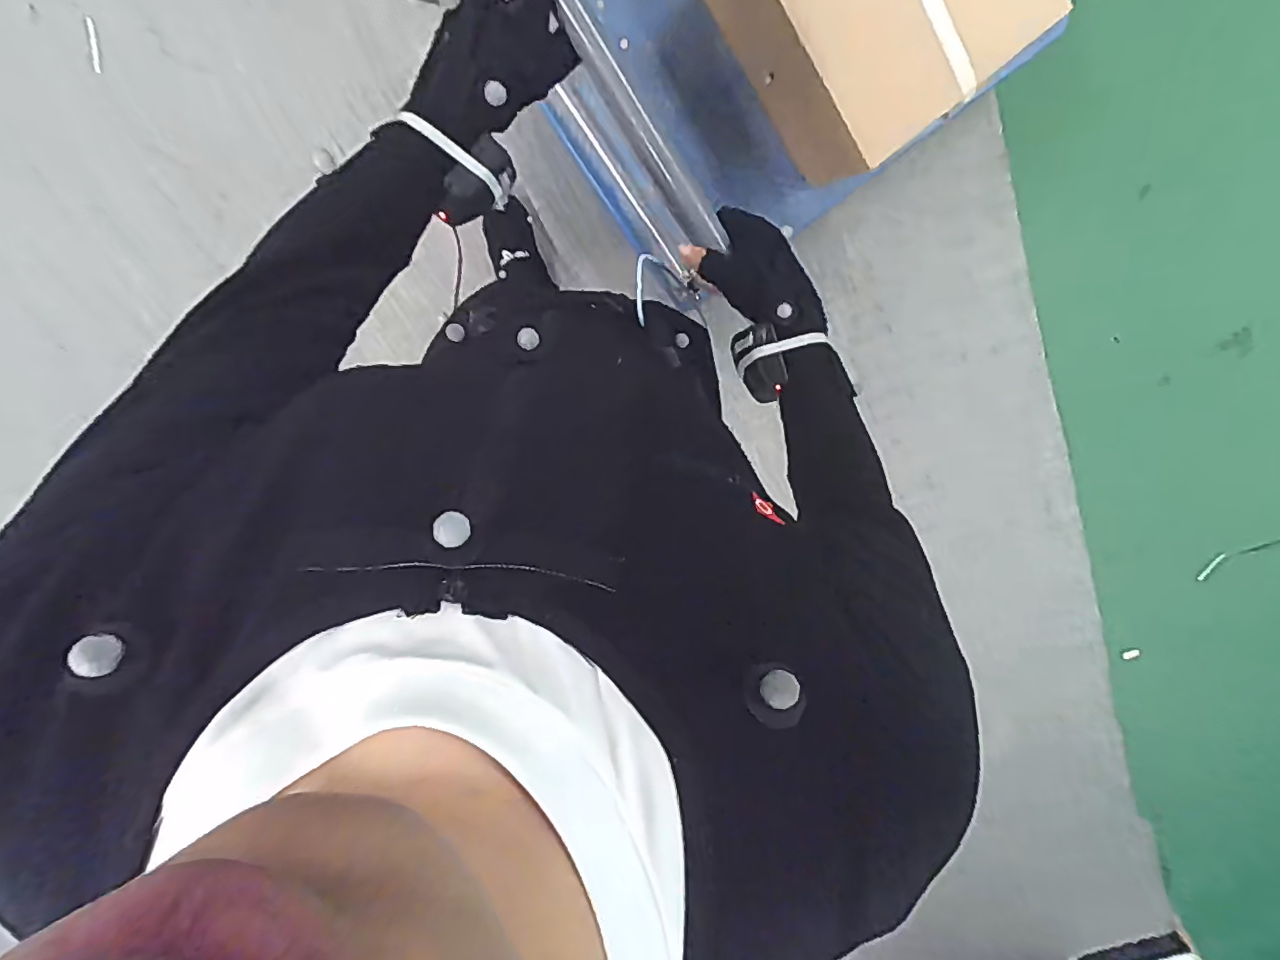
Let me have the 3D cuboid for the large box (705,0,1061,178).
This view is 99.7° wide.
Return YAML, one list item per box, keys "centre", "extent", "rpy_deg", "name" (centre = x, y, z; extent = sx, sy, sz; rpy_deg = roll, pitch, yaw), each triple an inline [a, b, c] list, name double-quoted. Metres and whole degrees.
- centre: [0.338, -0.767, 0.849]
  extent: [0.320, 0.320, 0.408]
  rpy_deg: [-36, 109, 14]
  name: "large box"
